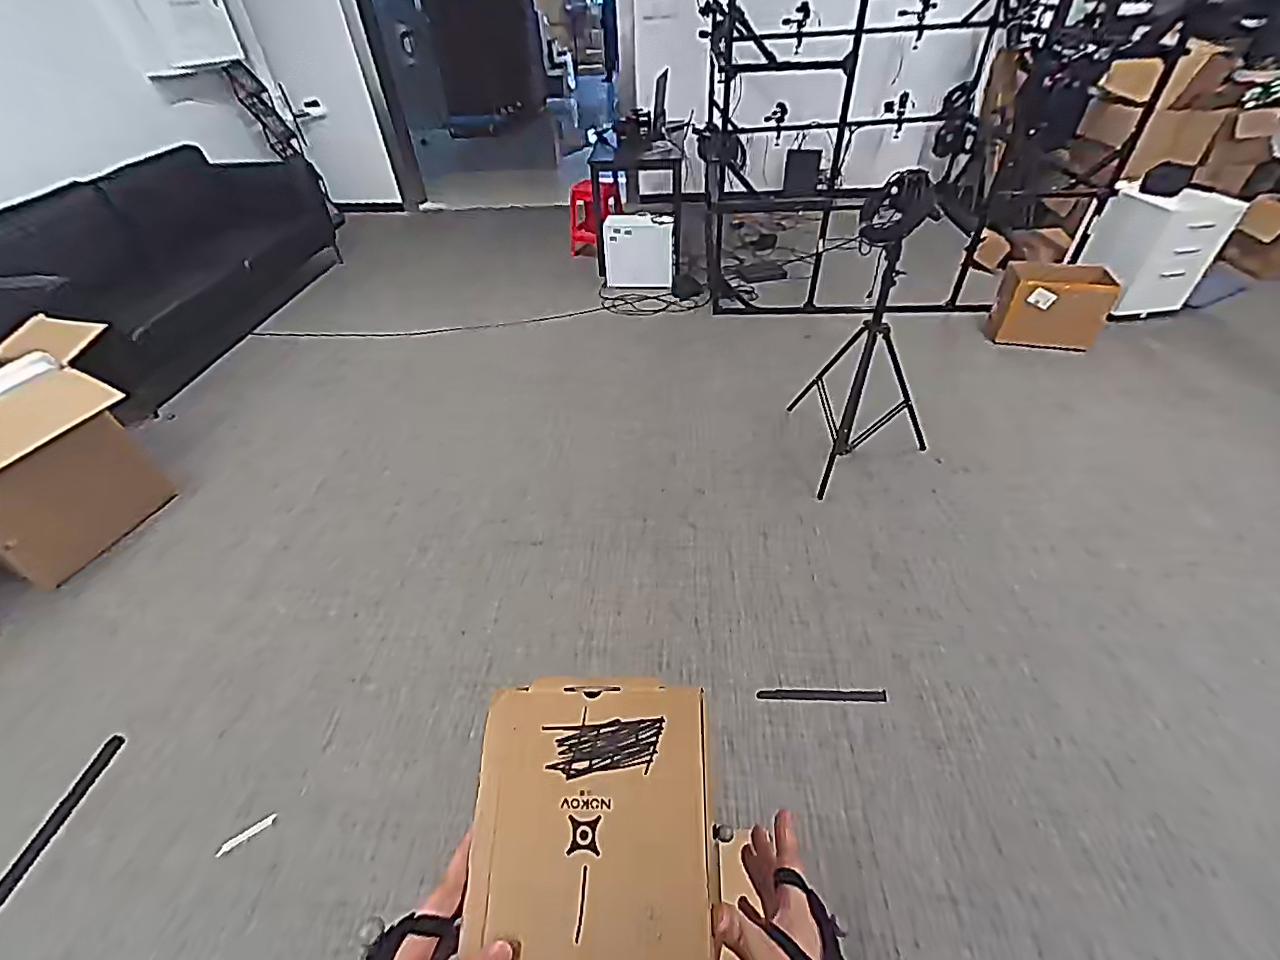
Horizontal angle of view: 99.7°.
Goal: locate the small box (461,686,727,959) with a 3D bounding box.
[{"bbox_3d":[-0.017,0.275,0.435,0.168,0.176,0.179,-4,59,9],"label":"small box"}]
